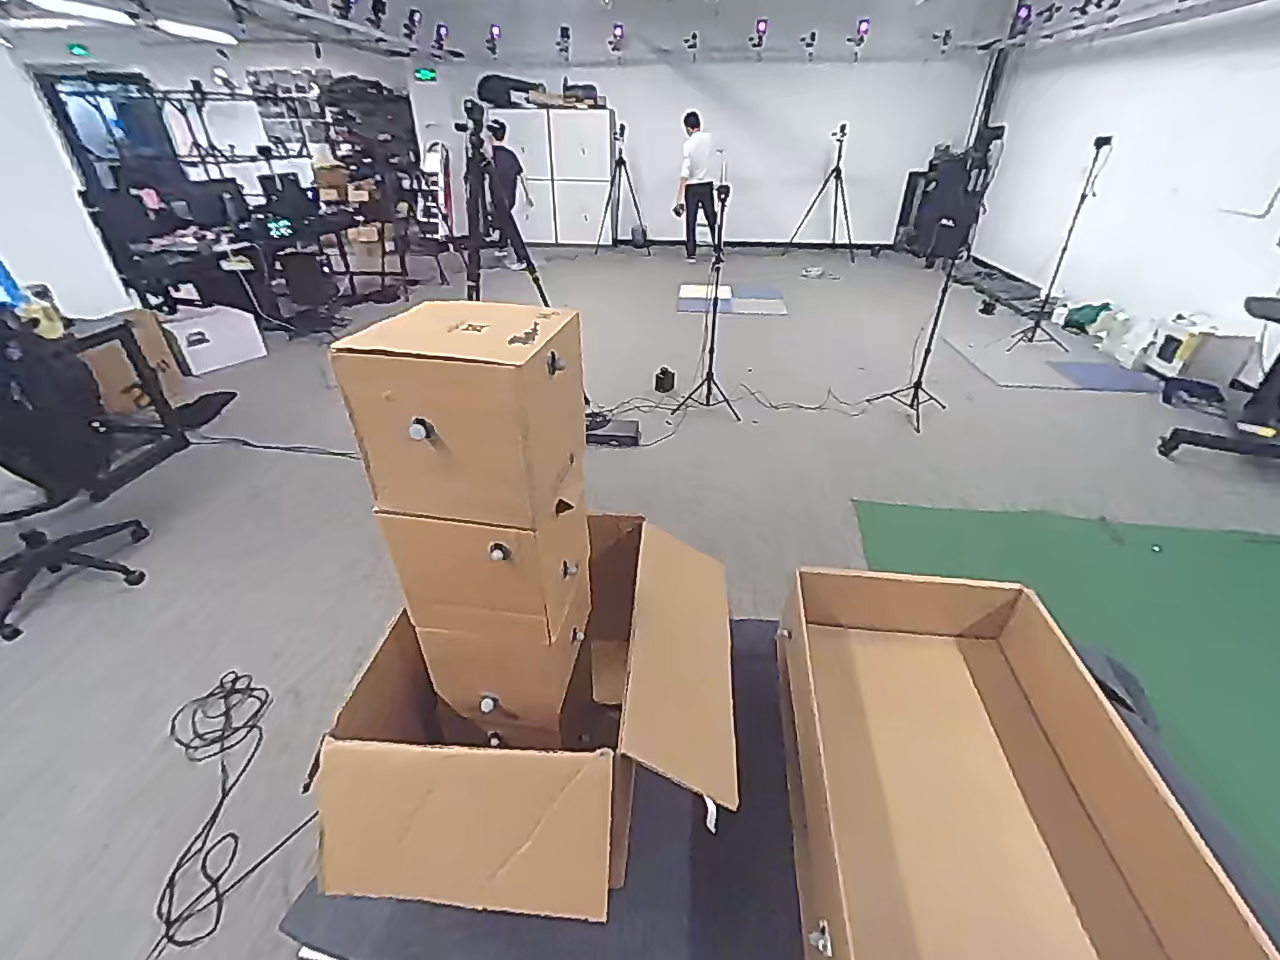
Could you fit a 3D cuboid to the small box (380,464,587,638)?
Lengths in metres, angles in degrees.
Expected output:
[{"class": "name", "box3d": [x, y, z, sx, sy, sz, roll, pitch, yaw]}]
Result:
[{"class": "small box", "box3d": [-0.168, 0.065, 0.646, 0.179, 0.176, 0.168, 7, 34, 8]}]

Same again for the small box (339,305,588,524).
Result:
[{"class": "small box", "box3d": [-0.160, -0.071, 0.556, 0.179, 0.176, 0.168, 6, 34, 8]}]

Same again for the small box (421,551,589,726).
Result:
[{"class": "small box", "box3d": [-0.168, 0.199, 0.737, 0.168, 0.176, 0.179, 6, 35, 7]}]
